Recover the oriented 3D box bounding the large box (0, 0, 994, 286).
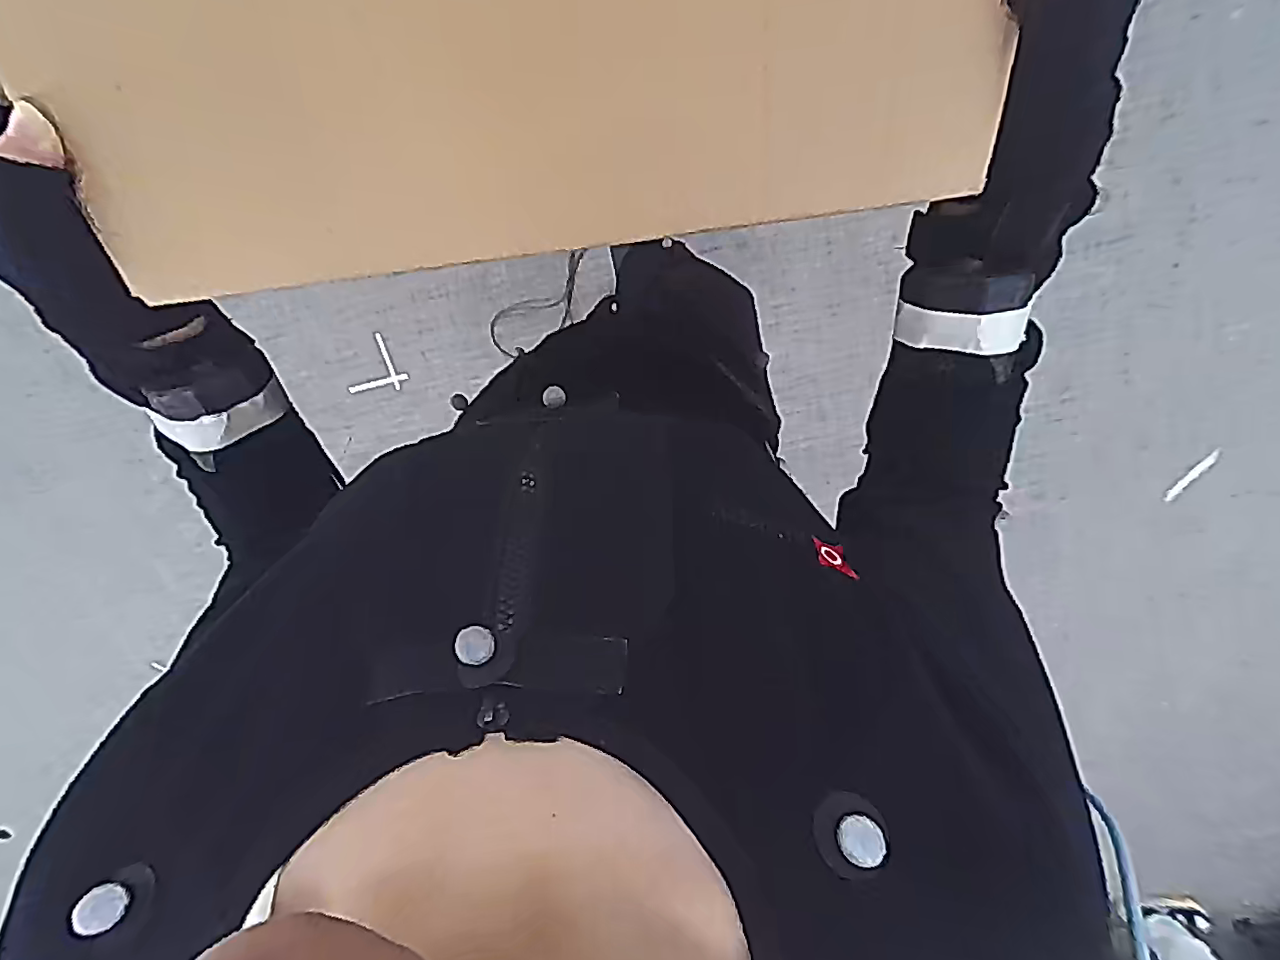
[{"bbox_3d":[-0.067,-0.332,0.305,0.408,0.320,0.320,-7,125,3],"label":"large box"}]
